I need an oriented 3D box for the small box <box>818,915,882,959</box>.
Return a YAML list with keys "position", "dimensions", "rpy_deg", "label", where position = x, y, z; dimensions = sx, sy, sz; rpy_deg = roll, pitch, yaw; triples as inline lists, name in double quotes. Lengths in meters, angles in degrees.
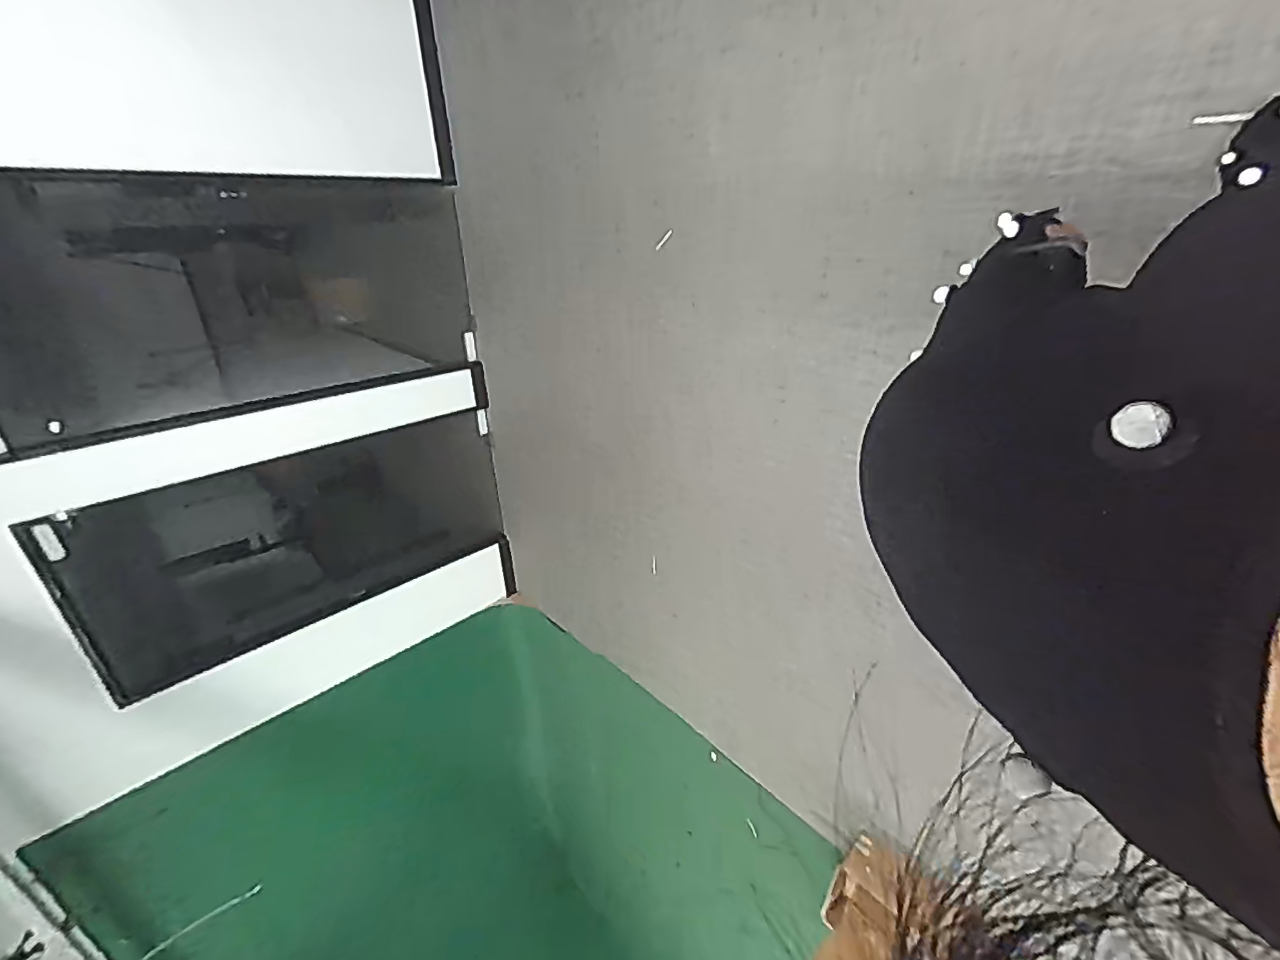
- position: [0.720, 1.690, 1.889]
  dimensions: [0.168, 0.176, 0.179]
  rpy_deg: [28, 125, 38]
  label: "small box"
